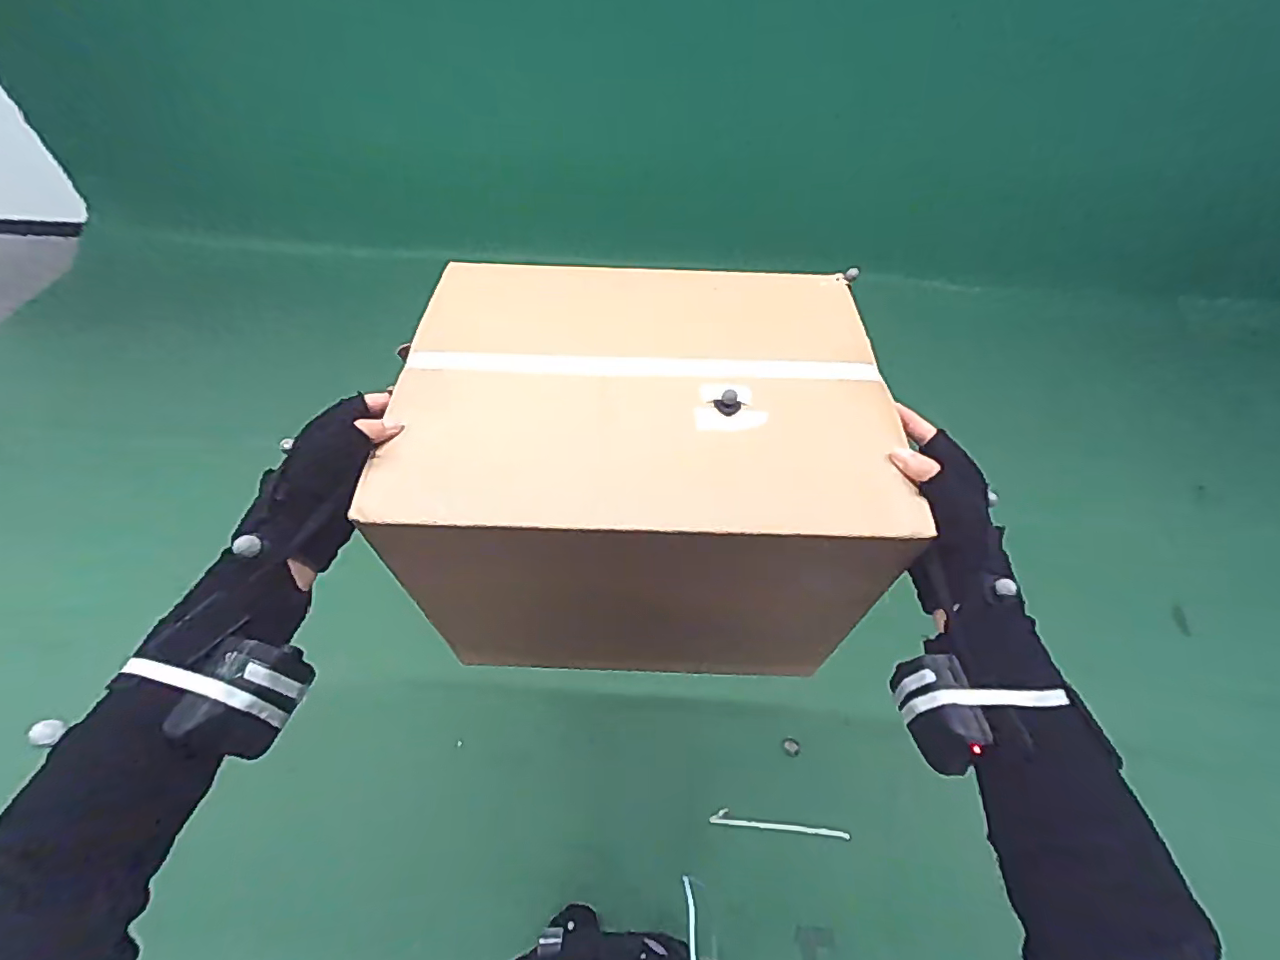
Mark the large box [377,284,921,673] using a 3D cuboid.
[{"bbox_3d":[0.002,0.010,0.595,0.408,0.320,0.320,2,53,-1],"label":"large box"}]
